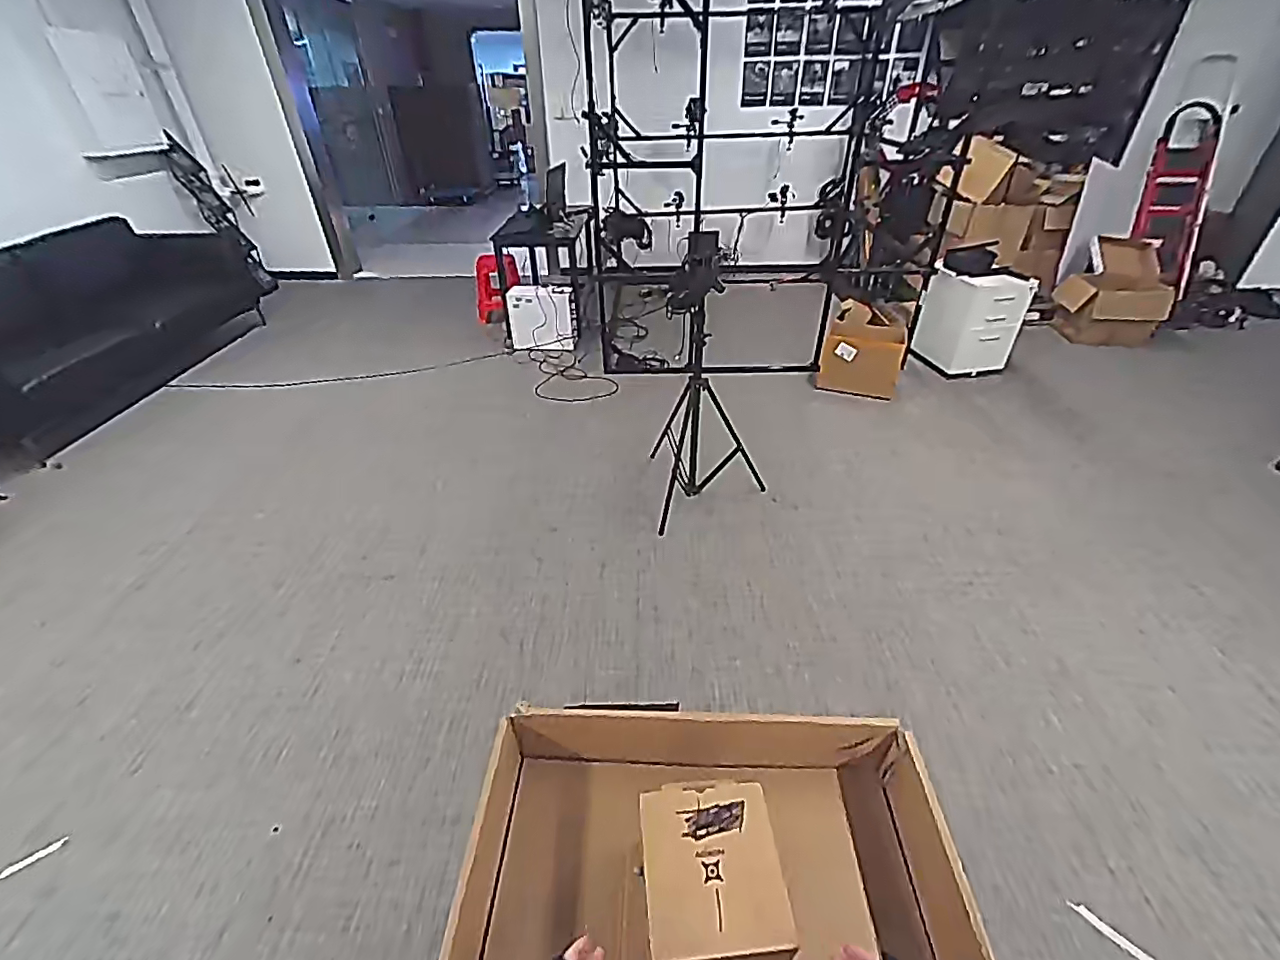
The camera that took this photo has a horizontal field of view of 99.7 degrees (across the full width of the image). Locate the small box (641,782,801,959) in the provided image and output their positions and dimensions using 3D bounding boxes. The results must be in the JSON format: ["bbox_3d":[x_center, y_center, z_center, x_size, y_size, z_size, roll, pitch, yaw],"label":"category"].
[{"bbox_3d":[0.089,0.523,0.695,0.168,0.176,0.179,-4,37,-4],"label":"small box"}]
